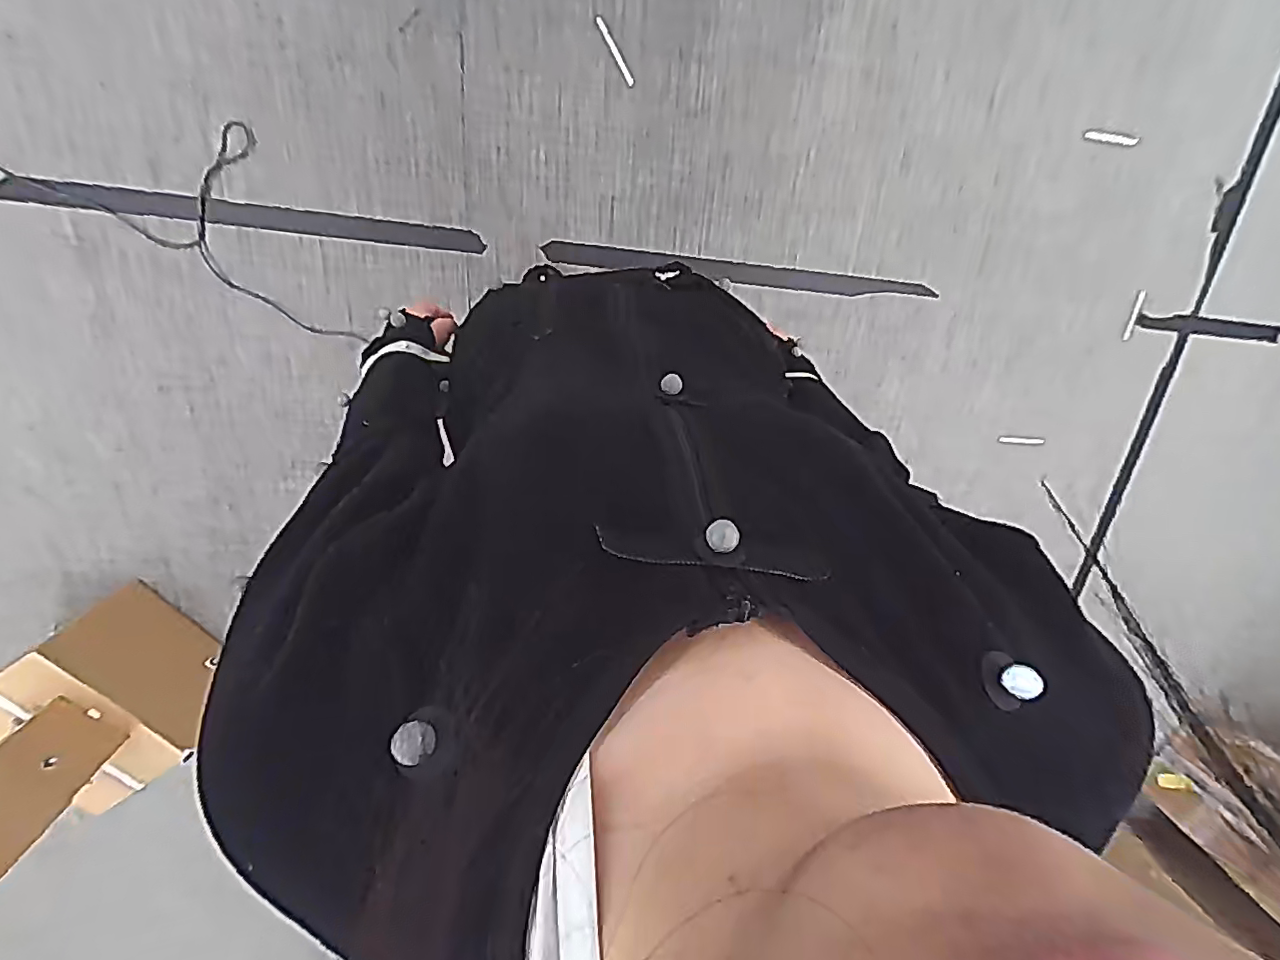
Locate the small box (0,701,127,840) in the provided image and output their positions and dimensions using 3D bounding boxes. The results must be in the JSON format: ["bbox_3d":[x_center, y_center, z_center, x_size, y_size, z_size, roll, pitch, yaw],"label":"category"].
[{"bbox_3d":[-1.299,0.623,1.177,0.168,0.176,0.179,-36,110,5],"label":"small box"}]
